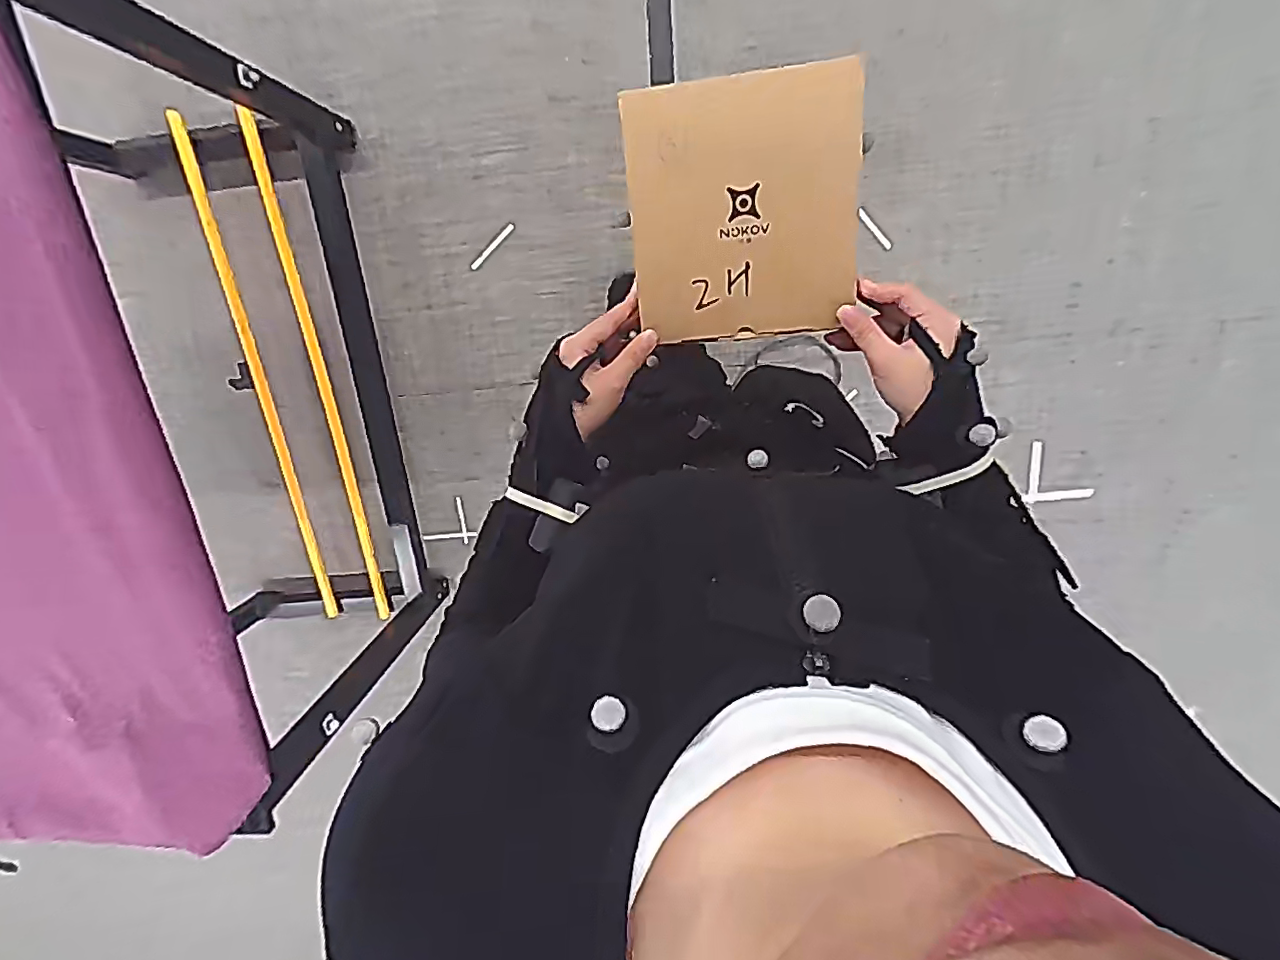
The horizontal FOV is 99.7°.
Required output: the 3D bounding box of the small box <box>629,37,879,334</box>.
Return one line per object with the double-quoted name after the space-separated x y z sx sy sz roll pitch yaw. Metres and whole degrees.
0.086 -0.225 0.454 0.168 0.176 0.179 -3 111 8 "small box"
